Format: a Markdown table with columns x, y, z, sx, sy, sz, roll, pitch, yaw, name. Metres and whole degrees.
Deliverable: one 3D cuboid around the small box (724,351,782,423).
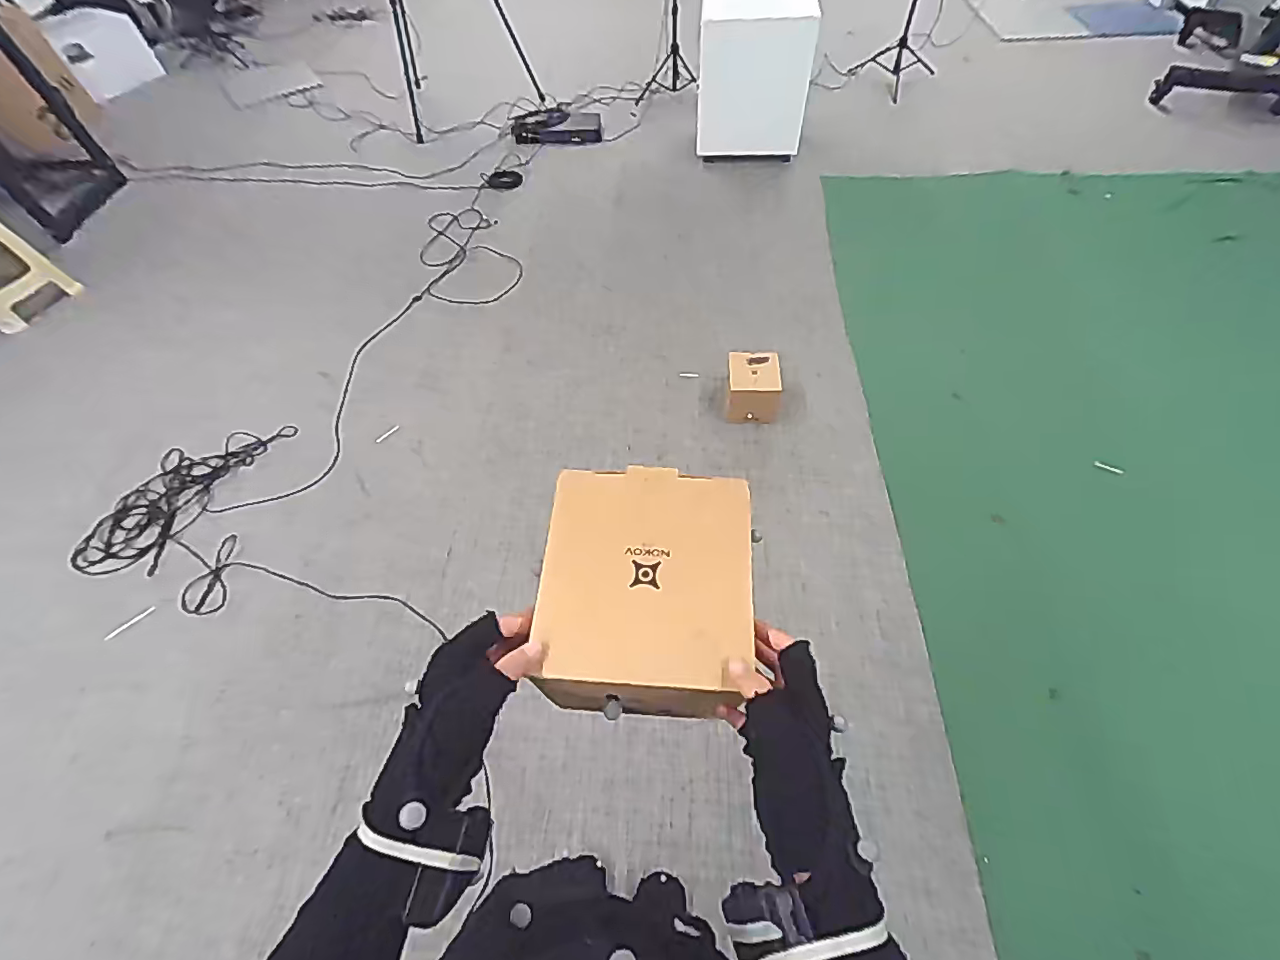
| x | y | z | sx | sy | sz | roll | pitch | yaw | name |
| --- | --- | --- | --- | --- | --- | --- | --- | --- | --- |
| 0.377 | -0.313 | 1.831 | 0.168 | 0.176 | 0.179 | 1 | 57 | 4 | small box |
